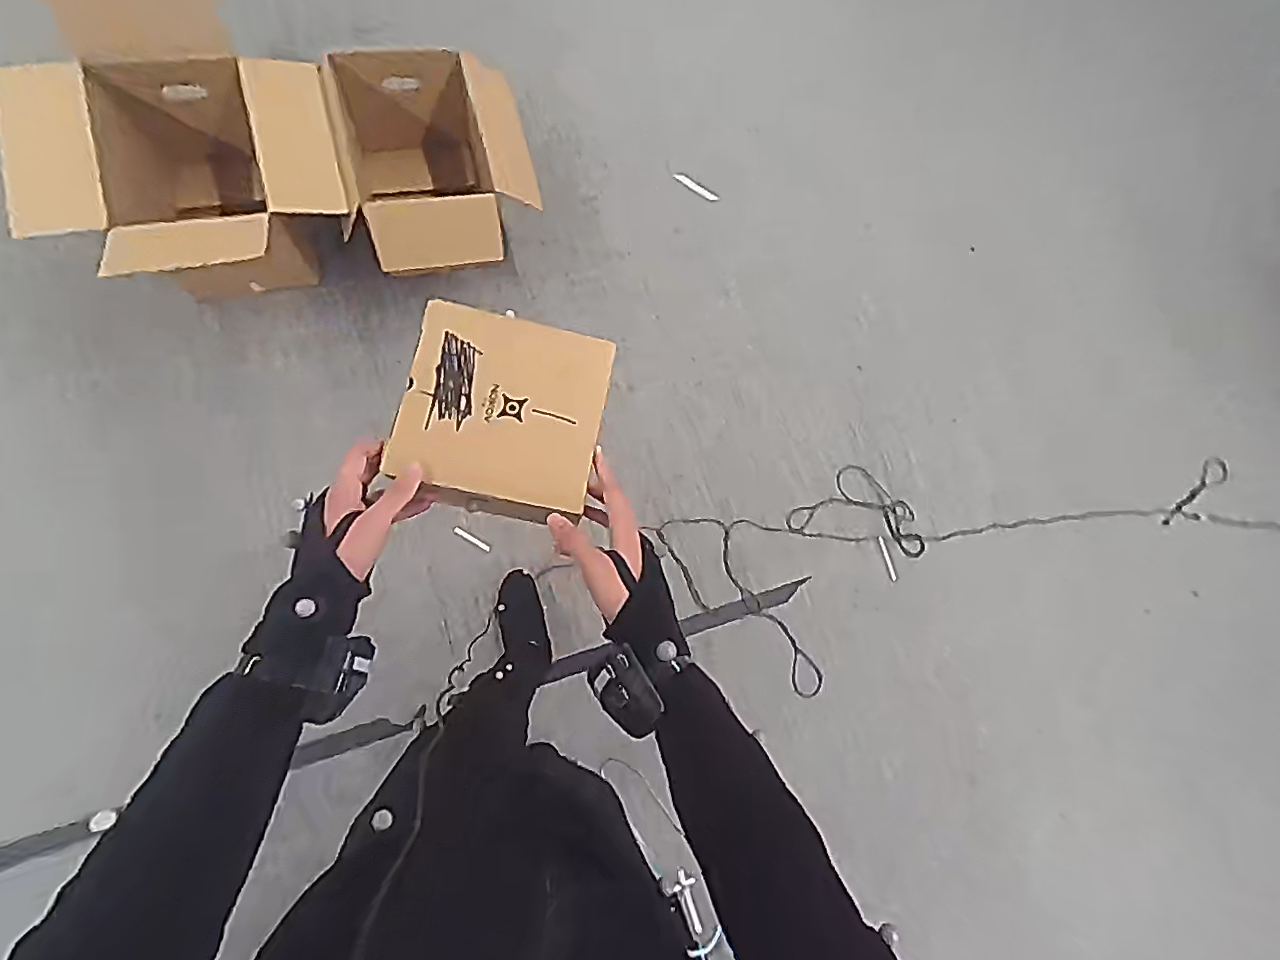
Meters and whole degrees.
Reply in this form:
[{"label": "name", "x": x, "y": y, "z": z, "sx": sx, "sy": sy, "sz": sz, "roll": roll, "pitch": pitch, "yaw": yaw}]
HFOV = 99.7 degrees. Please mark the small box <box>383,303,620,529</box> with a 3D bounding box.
[{"label": "small box", "x": -0.128, "y": -0.050, "z": 0.555, "sx": 0.179, "sy": 0.176, "sz": 0.168, "roll": 13, "pitch": 78, "yaw": -6}]
